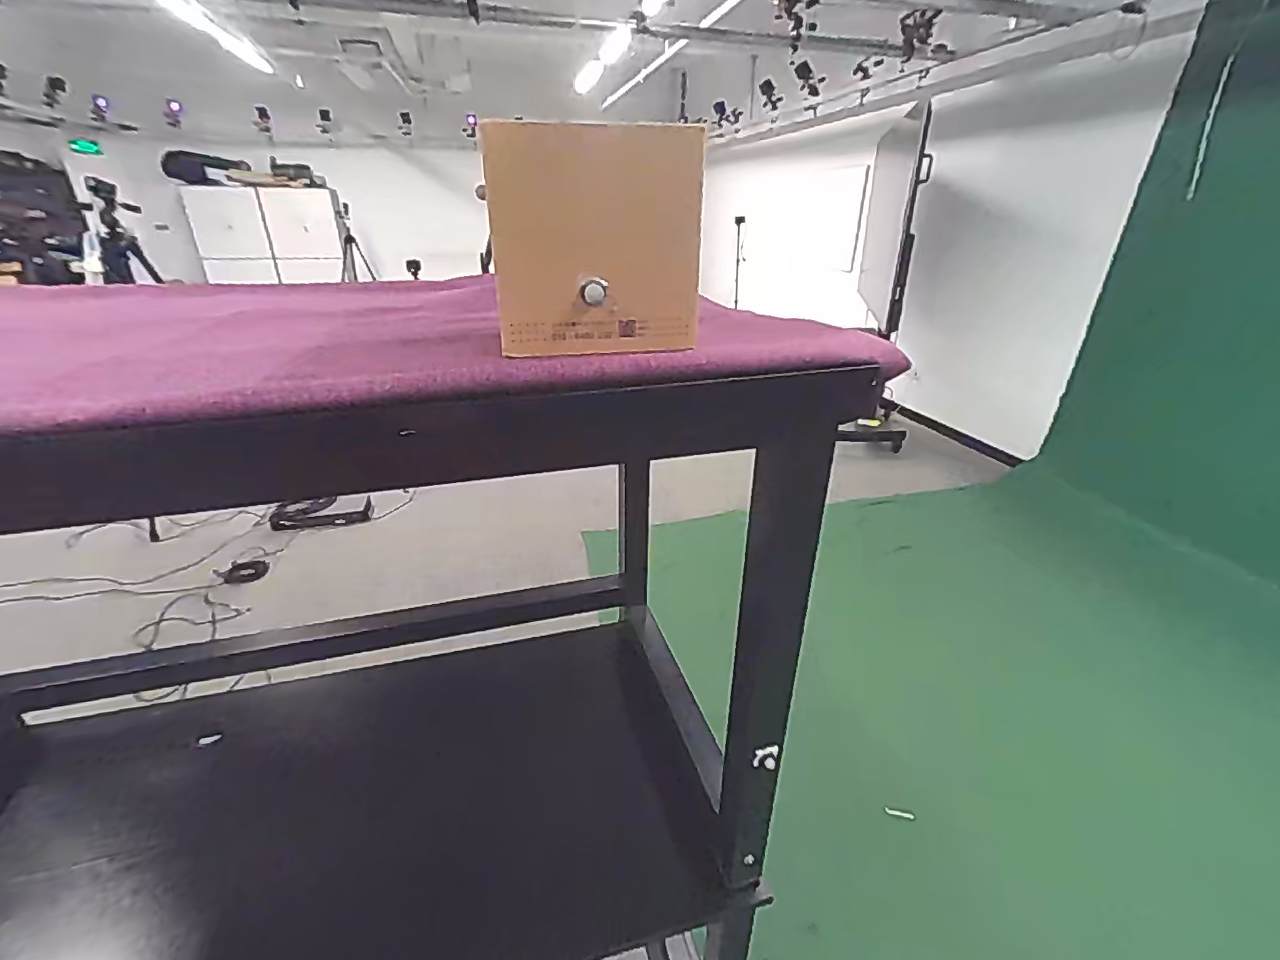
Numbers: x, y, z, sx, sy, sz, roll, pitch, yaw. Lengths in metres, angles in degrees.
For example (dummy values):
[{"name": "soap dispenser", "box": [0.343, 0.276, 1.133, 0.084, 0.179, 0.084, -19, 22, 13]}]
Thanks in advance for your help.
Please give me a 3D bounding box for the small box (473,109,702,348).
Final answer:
[{"name": "small box", "box": [-0.048, -0.221, 0.491, 0.168, 0.176, 0.179, -5, 28, -9]}]
